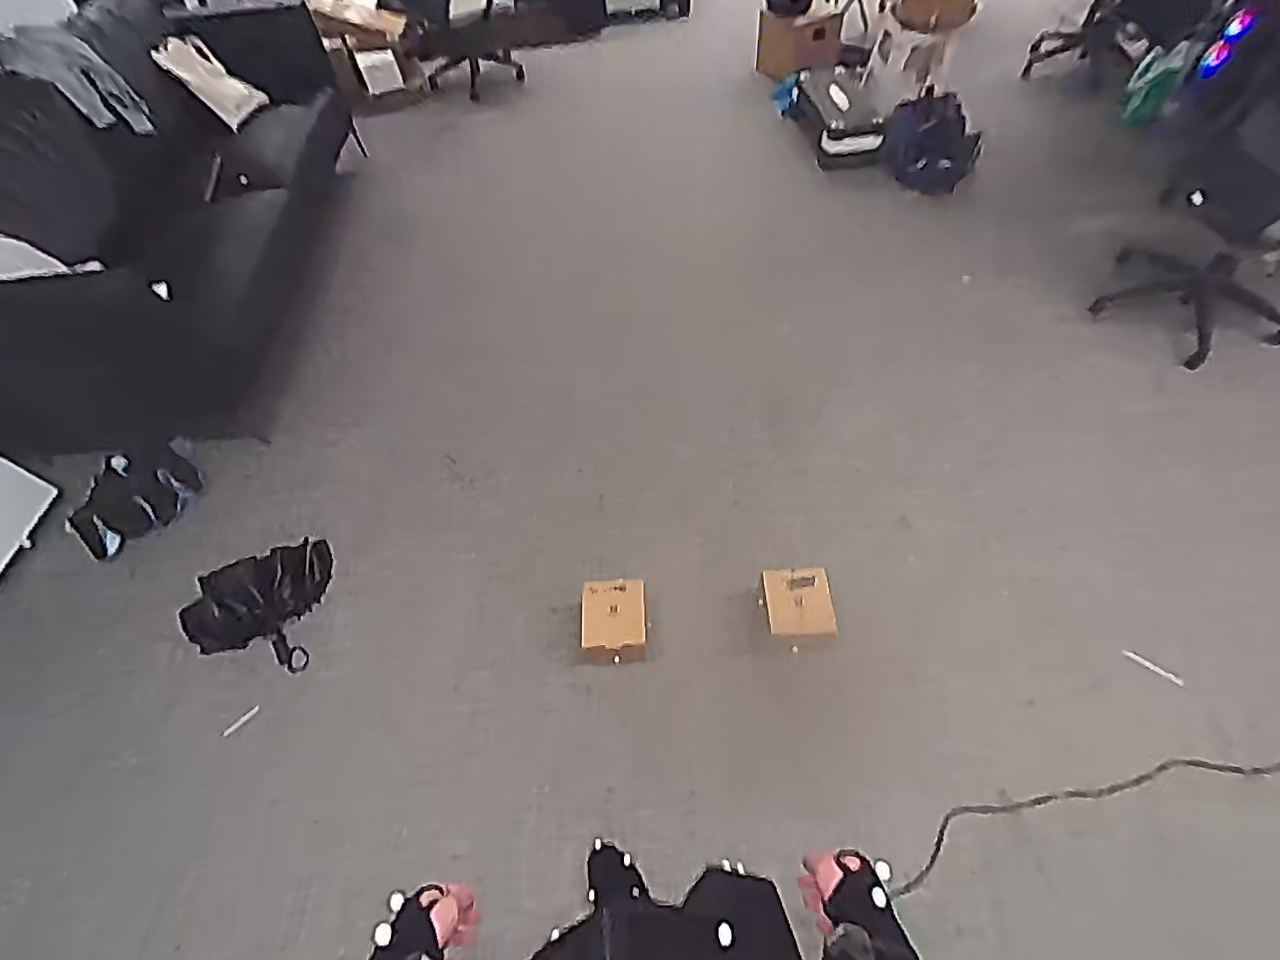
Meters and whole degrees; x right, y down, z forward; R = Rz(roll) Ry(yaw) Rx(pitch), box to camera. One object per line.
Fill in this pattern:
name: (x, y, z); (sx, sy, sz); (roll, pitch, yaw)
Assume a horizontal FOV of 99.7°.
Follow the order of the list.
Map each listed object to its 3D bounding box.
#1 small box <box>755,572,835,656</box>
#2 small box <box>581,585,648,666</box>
small box: (0.410, 0.365, 1.461); (0.168, 0.176, 0.179); (-4, 58, 3)
small box: (-0.065, 0.402, 1.474); (0.168, 0.176, 0.179); (-3, 56, 2)
